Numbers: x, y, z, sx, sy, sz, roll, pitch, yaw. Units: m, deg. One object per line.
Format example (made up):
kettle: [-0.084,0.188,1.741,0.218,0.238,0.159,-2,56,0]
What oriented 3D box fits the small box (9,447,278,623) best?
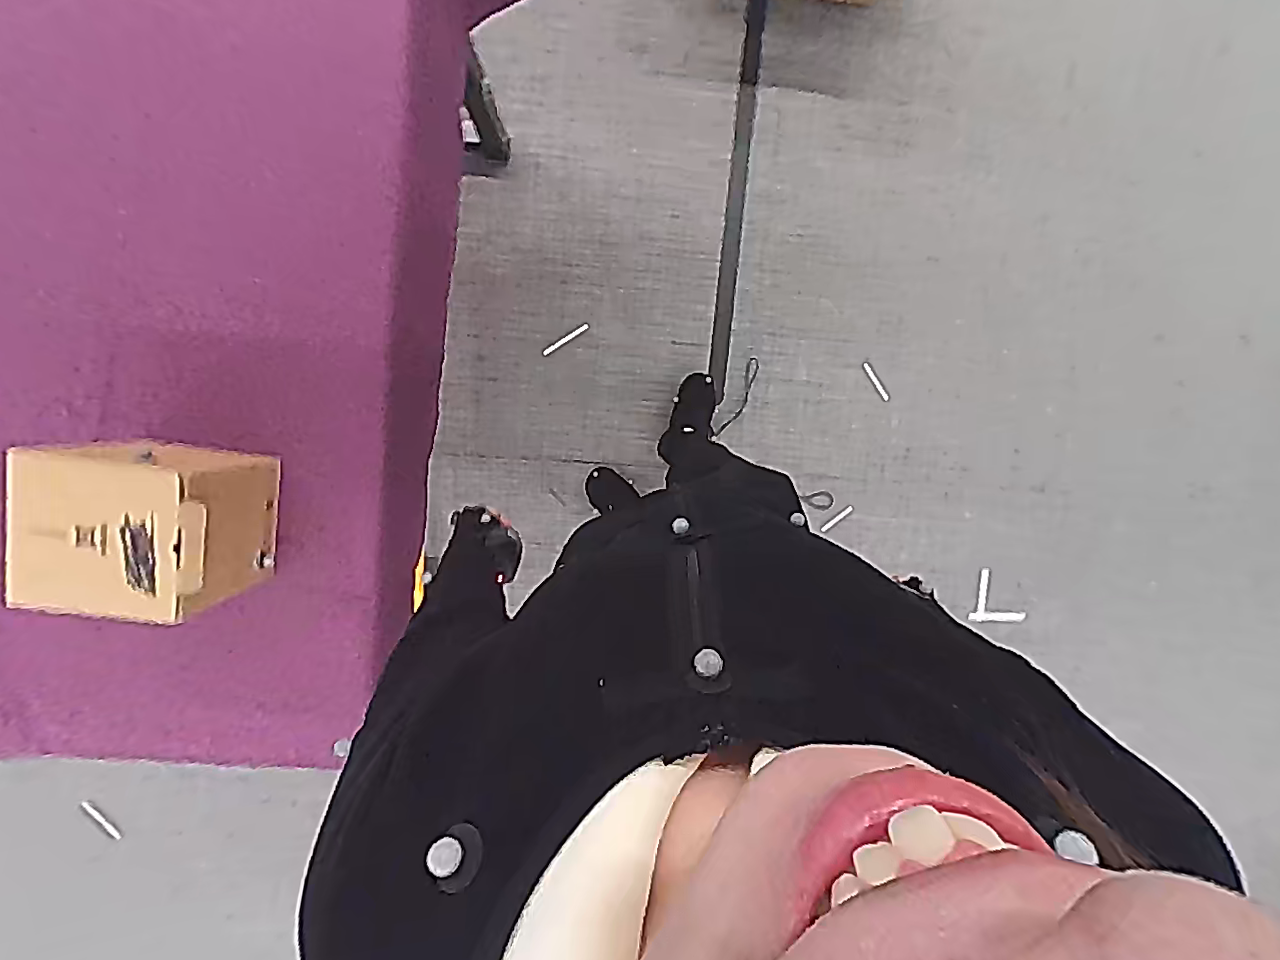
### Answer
small box: [-0.568,0.054,0.643,0.179,0.176,0.168,7,96,-3]
